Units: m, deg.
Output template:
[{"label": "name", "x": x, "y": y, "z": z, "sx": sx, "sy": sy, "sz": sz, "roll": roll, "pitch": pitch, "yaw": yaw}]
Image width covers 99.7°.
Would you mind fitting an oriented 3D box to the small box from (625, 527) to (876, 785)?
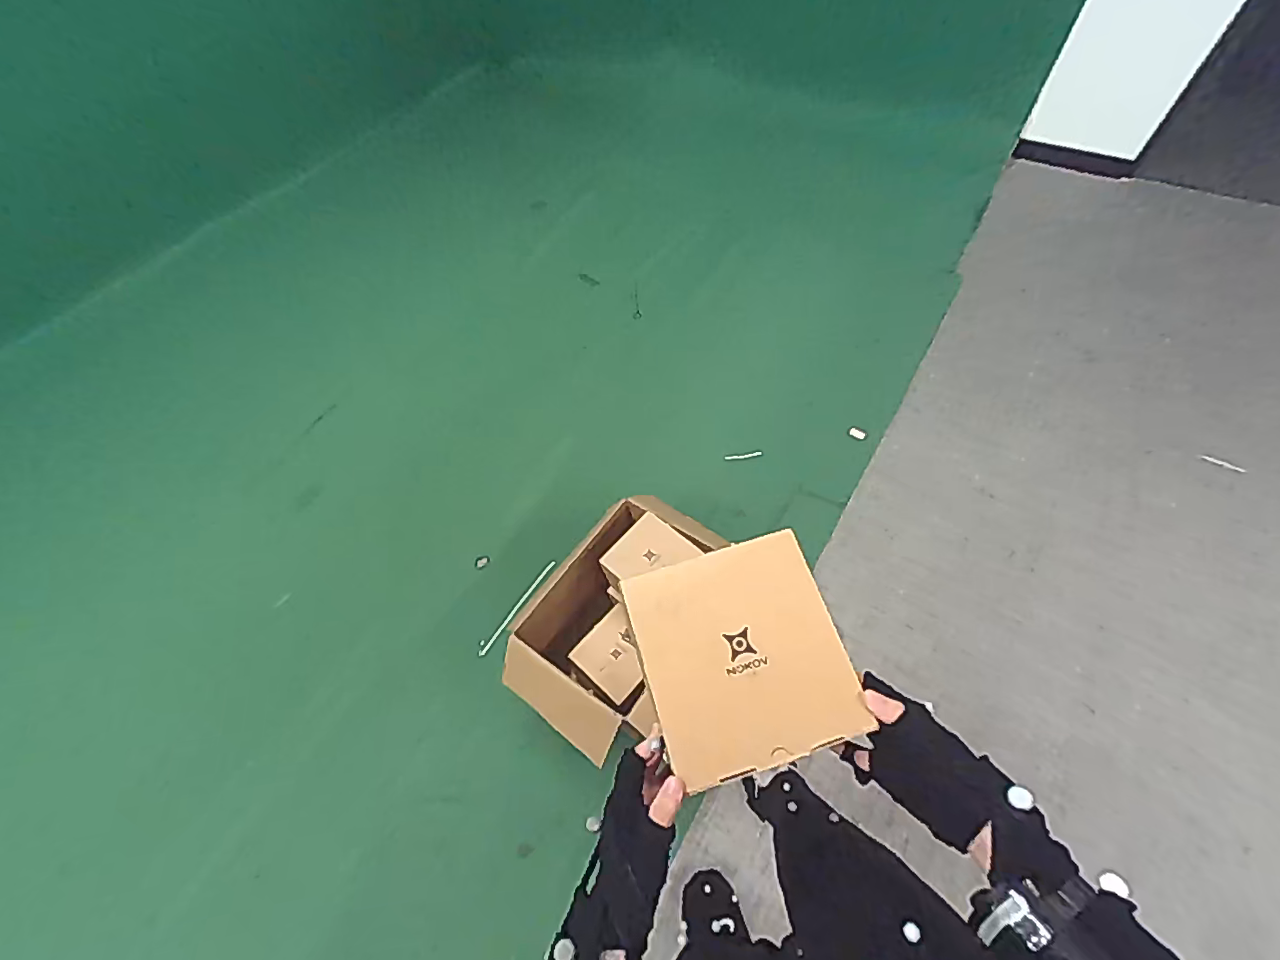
[{"label": "small box", "x": 0.085, "y": 0.170, "z": 0.523, "sx": 0.168, "sy": 0.176, "sz": 0.179, "roll": -16, "pitch": 67, "yaw": -7}]
